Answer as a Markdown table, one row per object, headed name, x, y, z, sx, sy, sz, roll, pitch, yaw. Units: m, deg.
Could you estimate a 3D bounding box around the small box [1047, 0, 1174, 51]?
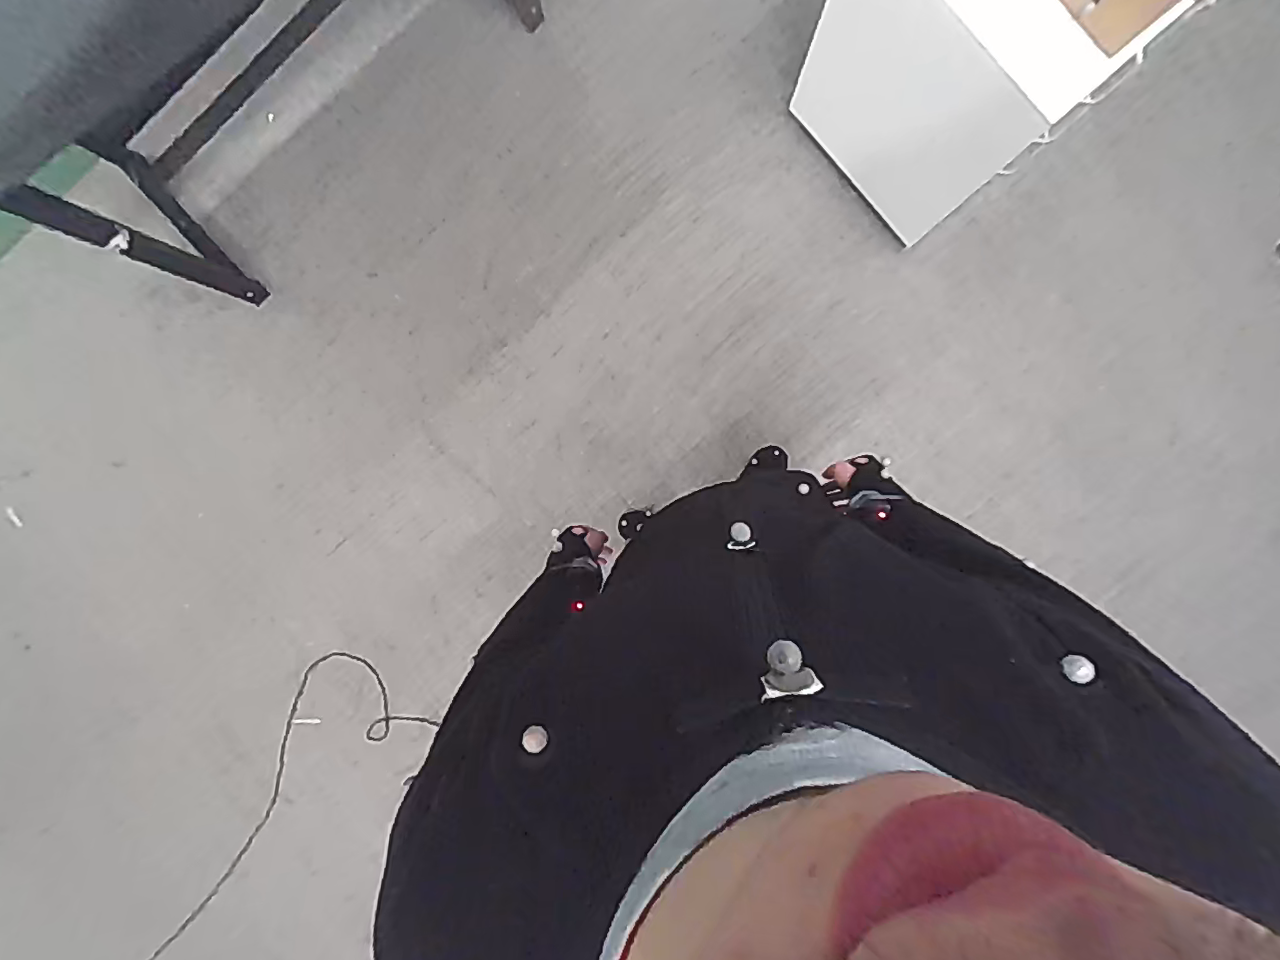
| name | x | y | z | sx | sy | sz | roll | pitch | yaw |
| --- | --- | --- | --- | --- | --- | --- | --- | --- | --- |
| small box | 0.785 | -0.823 | 0.838 | 0.168 | 0.176 | 0.179 | -40 | 91 | 2 |
